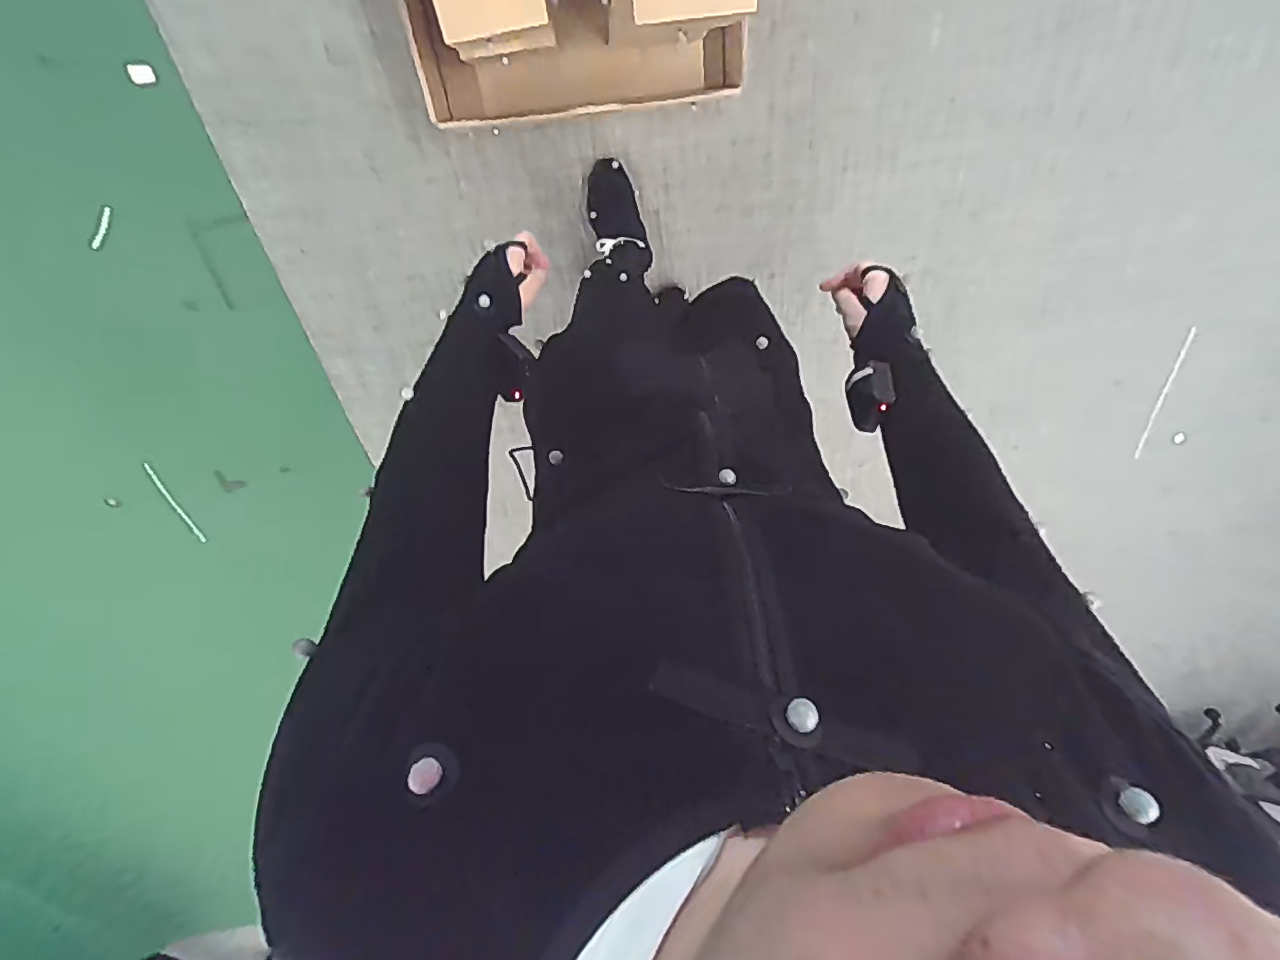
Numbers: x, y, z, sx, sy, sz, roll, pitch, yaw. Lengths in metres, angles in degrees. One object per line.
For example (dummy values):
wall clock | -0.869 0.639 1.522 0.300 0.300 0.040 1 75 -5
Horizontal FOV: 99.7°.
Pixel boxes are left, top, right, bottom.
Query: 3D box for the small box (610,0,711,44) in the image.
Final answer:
small box | 0.034 -0.912 0.988 0.179 0.176 0.168 -4 125 -1

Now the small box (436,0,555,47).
small box | -0.234 -0.804 0.847 0.168 0.176 0.179 -10 124 2

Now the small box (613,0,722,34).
small box | 0.039 -0.822 0.853 0.168 0.176 0.179 -4 125 -2
